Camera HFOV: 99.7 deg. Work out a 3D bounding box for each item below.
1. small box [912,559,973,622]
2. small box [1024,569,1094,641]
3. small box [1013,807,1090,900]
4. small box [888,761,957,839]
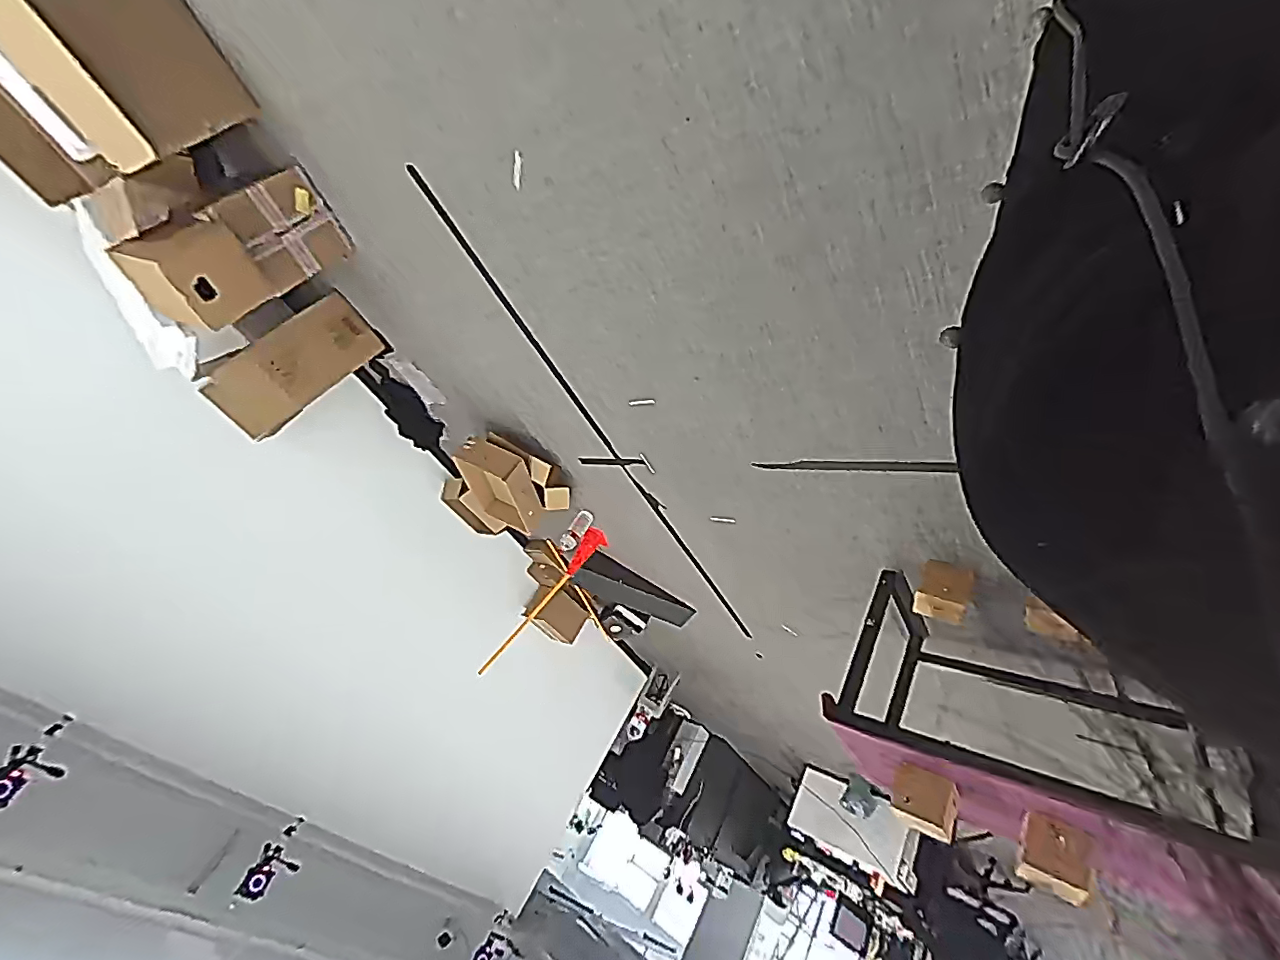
[{"bbox_3d":[1.230,0.444,2.202,0.179,0.176,0.168,14,145,30],"label":"small box"},{"bbox_3d":[1.489,0.438,1.923,0.179,0.176,0.168,6,141,41],"label":"small box"},{"bbox_3d":[1.304,1.179,1.713,0.168,0.176,0.179,12,143,35],"label":"small box"},{"bbox_3d":[1.024,1.148,1.954,0.179,0.176,0.168,3,140,42],"label":"small box"}]
